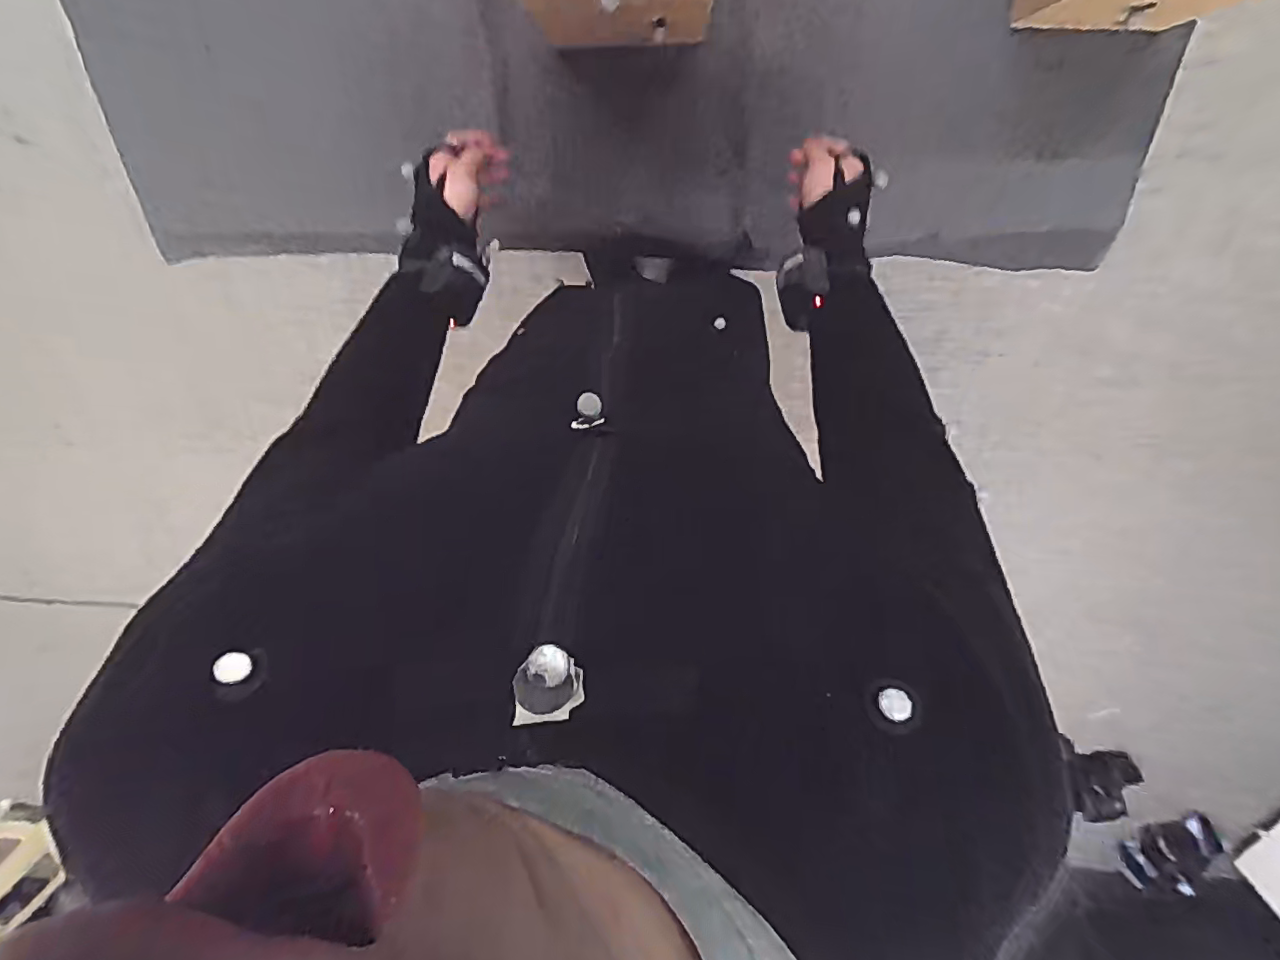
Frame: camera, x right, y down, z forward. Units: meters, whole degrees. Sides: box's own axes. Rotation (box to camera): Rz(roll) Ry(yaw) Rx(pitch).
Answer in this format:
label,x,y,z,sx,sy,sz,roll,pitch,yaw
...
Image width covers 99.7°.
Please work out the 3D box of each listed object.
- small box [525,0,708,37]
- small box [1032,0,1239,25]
label,x,y,z,sx,sy,sz,roll,pitch,yaw
small box,-0.019,-0.511,0.468,0.168,0.176,0.179,-1,116,1
small box,0.468,-0.507,0.447,0.168,0.176,0.179,3,118,1
